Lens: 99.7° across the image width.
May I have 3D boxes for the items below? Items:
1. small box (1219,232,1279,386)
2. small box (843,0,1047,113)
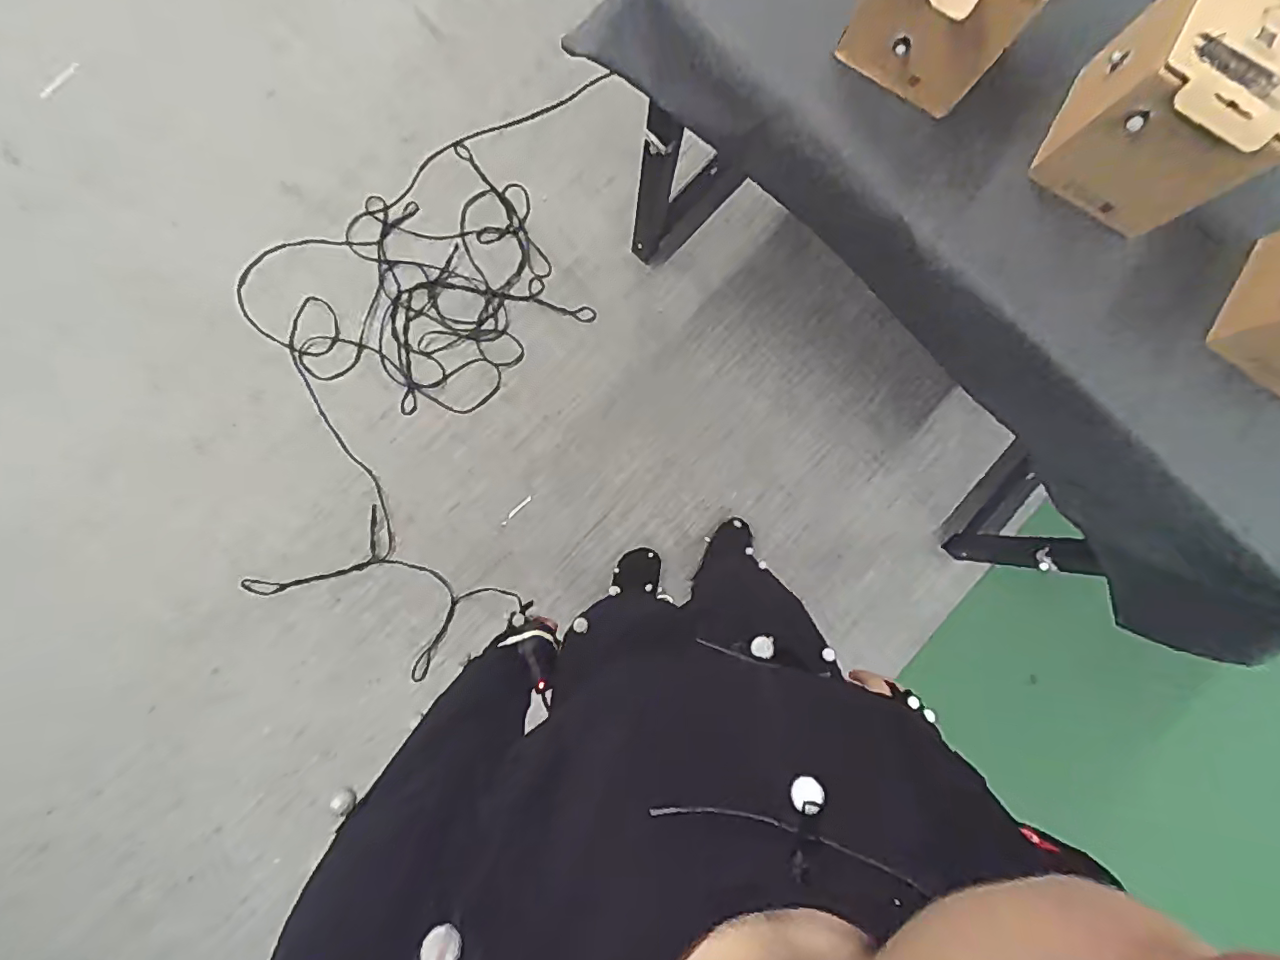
[{"bbox_3d":[0.848,-0.211,0.625,0.168,0.176,0.179,32,83,-3],"label":"small box"},{"bbox_3d":[0.362,-0.579,0.613,0.168,0.176,0.179,28,85,-2],"label":"small box"}]
